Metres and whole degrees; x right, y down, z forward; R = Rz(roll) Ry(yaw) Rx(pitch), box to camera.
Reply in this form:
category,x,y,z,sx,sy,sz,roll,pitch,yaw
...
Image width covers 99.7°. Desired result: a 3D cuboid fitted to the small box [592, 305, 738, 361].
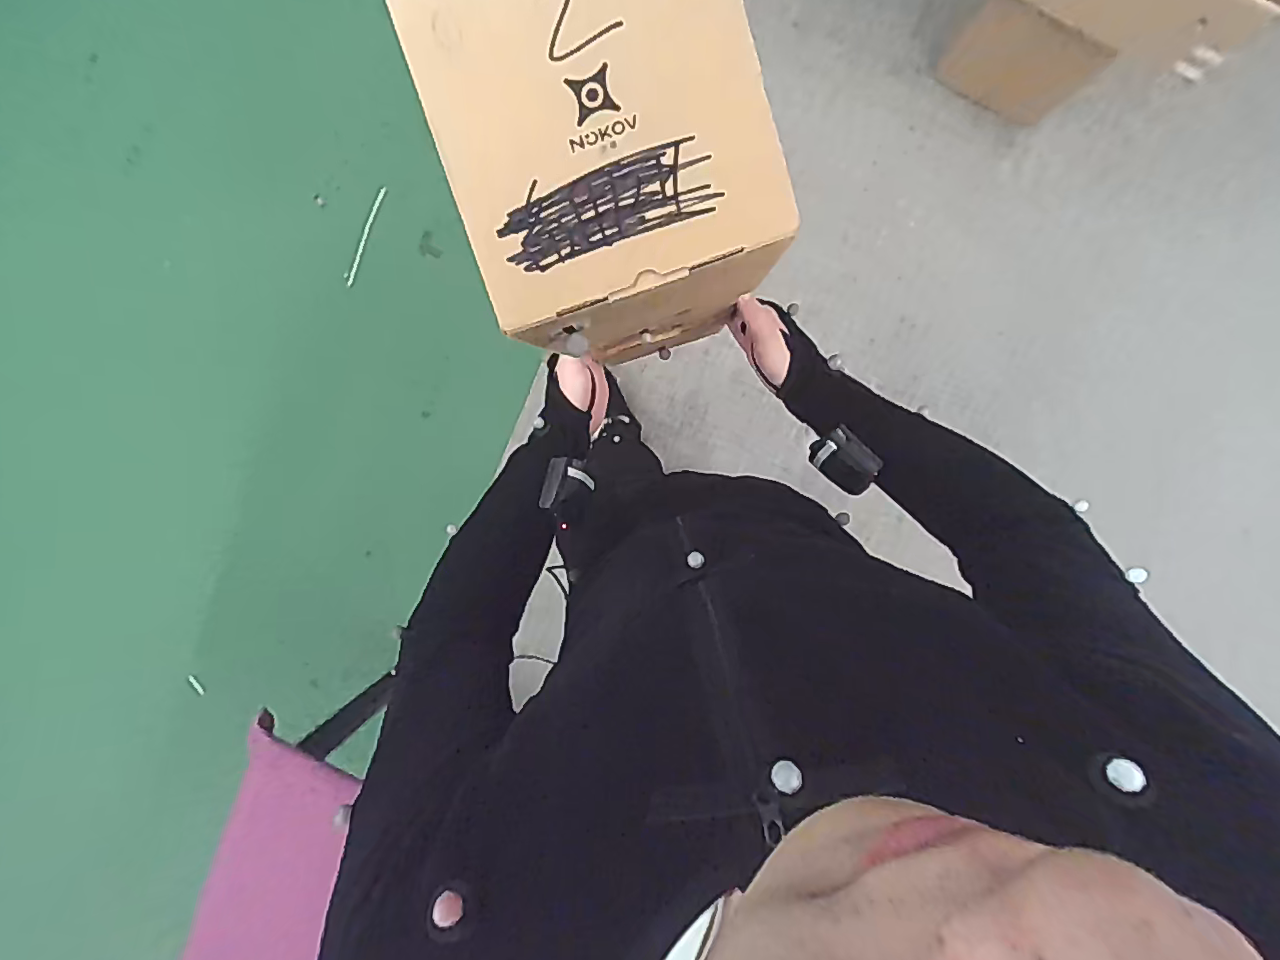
category,x,y,z,sx,sy,sz,roll,pitch,yaw
small box,0.012,-0.255,0.661,0.168,0.176,0.179,-15,98,6

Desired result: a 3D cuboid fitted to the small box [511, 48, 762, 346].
category,x,y,z,sx,sy,sz,roll,pitch,yaw
small box,0.001,-0.235,0.500,0.168,0.176,0.179,-14,99,5
